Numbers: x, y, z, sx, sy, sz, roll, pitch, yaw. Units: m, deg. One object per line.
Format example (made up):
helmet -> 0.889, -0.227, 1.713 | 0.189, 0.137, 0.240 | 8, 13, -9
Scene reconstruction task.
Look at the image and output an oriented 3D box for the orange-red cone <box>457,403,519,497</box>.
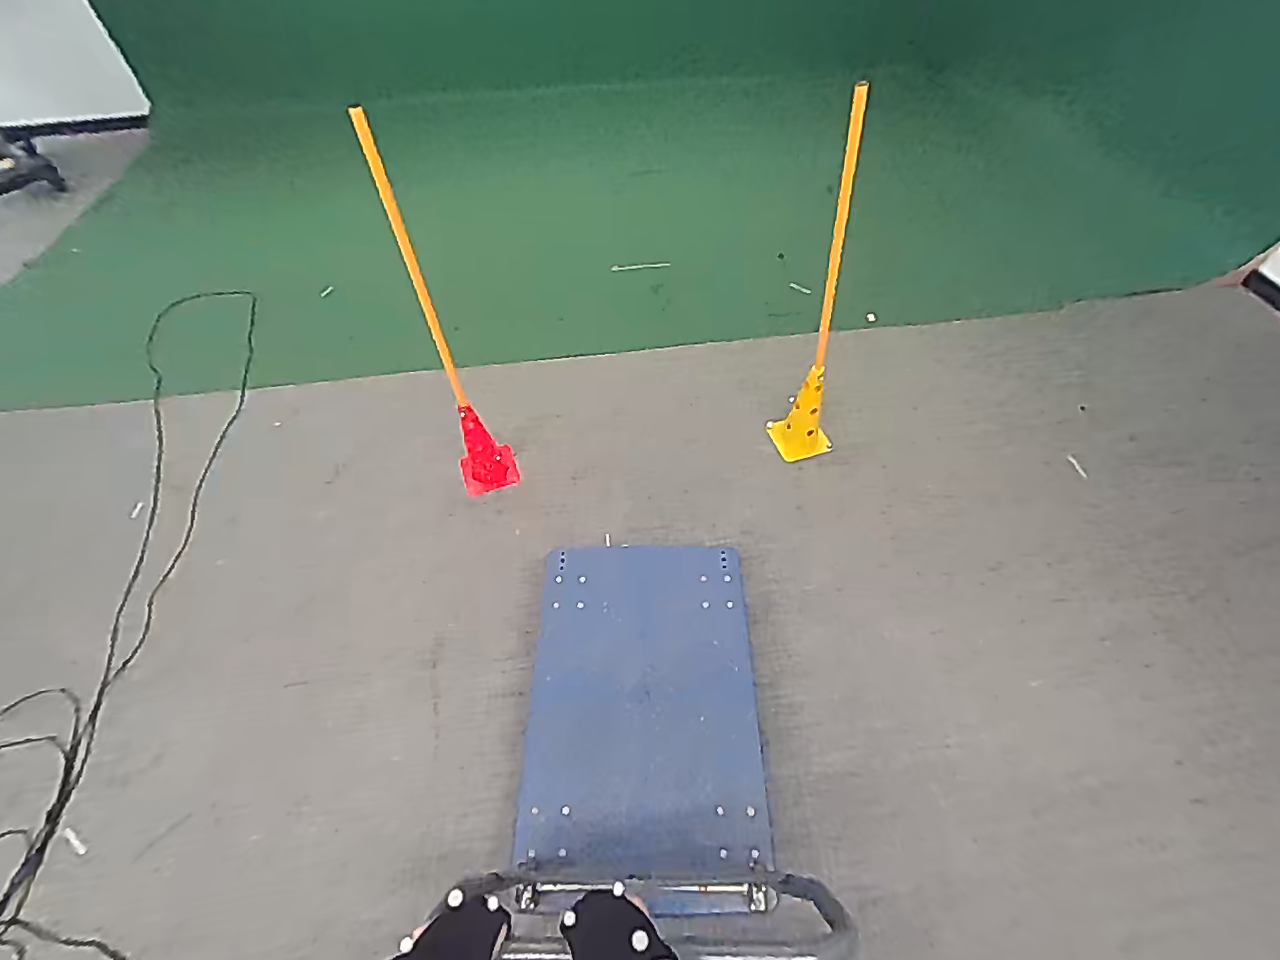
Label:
orange-red cone -> -0.574, -0.132, 1.902 | 0.199, 0.360, 0.198 | -19, 54, -10
